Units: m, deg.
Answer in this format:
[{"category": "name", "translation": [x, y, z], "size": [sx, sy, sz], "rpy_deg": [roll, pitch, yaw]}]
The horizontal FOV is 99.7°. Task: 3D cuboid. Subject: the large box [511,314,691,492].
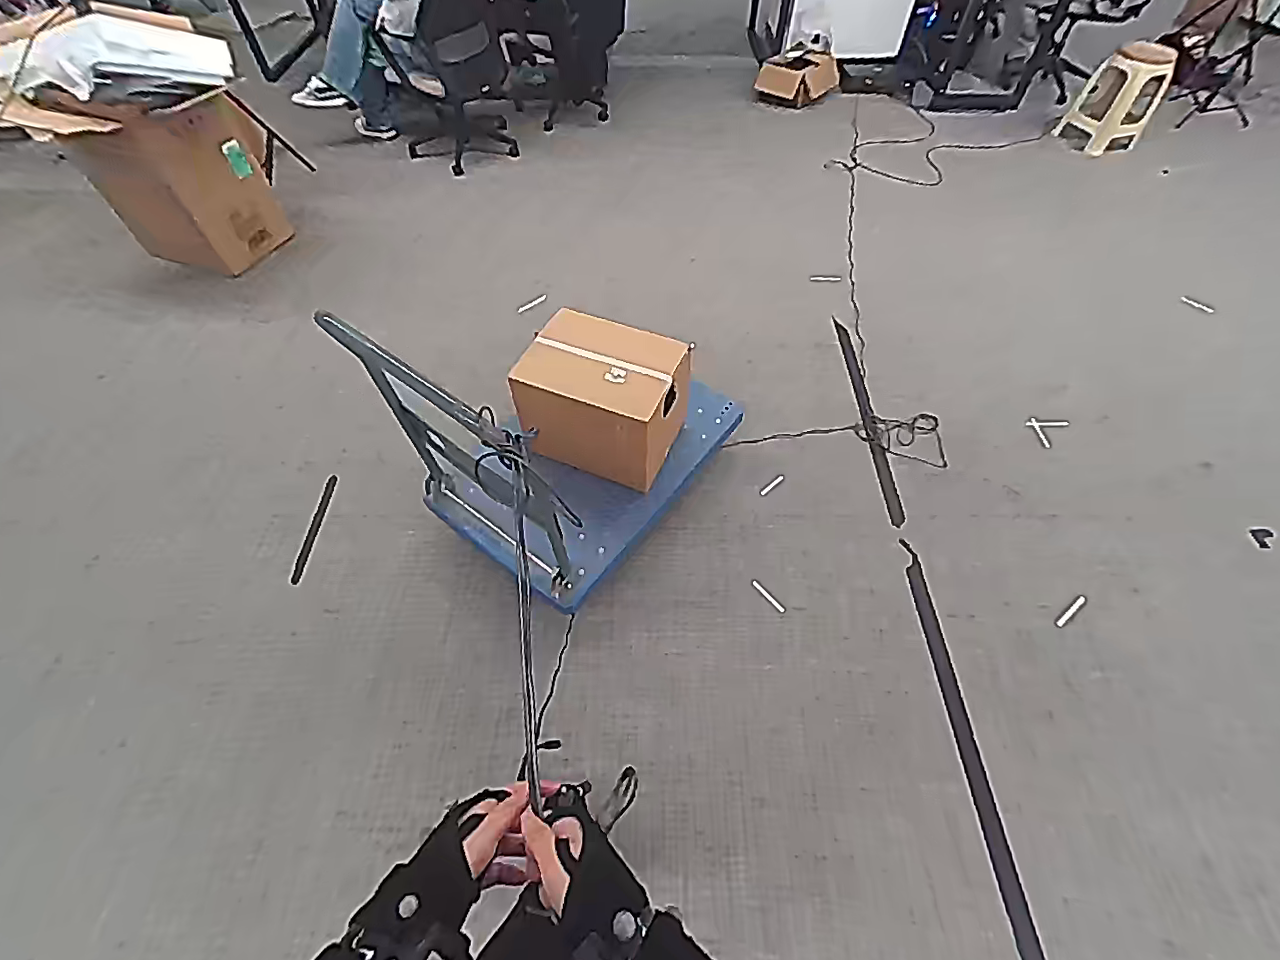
[{"category": "large box", "translation": [-0.103, -0.221, 1.561], "size": [0.408, 0.320, 0.320], "rpy_deg": [20, 57, 12]}]
